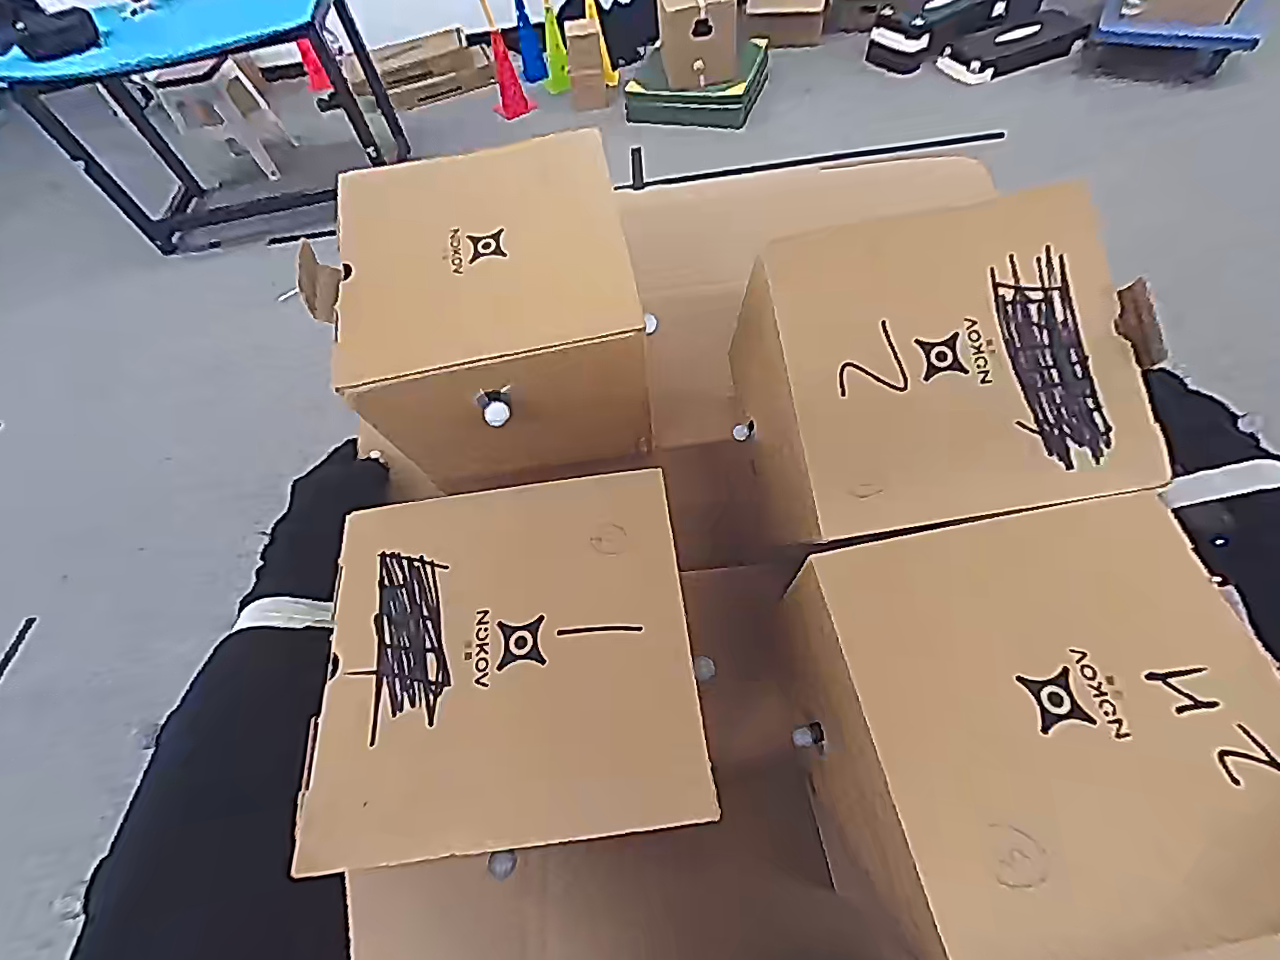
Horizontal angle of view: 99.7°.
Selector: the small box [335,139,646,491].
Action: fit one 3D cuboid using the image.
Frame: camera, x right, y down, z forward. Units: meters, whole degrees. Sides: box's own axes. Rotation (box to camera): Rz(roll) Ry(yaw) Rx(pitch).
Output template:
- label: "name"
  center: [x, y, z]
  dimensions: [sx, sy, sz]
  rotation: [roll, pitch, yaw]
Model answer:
- label: "small box"
  center: [-0.094, -0.107, 0.405]
  dimensions: [0.179, 0.176, 0.168]
  rotation: [-12, 67, 0]
